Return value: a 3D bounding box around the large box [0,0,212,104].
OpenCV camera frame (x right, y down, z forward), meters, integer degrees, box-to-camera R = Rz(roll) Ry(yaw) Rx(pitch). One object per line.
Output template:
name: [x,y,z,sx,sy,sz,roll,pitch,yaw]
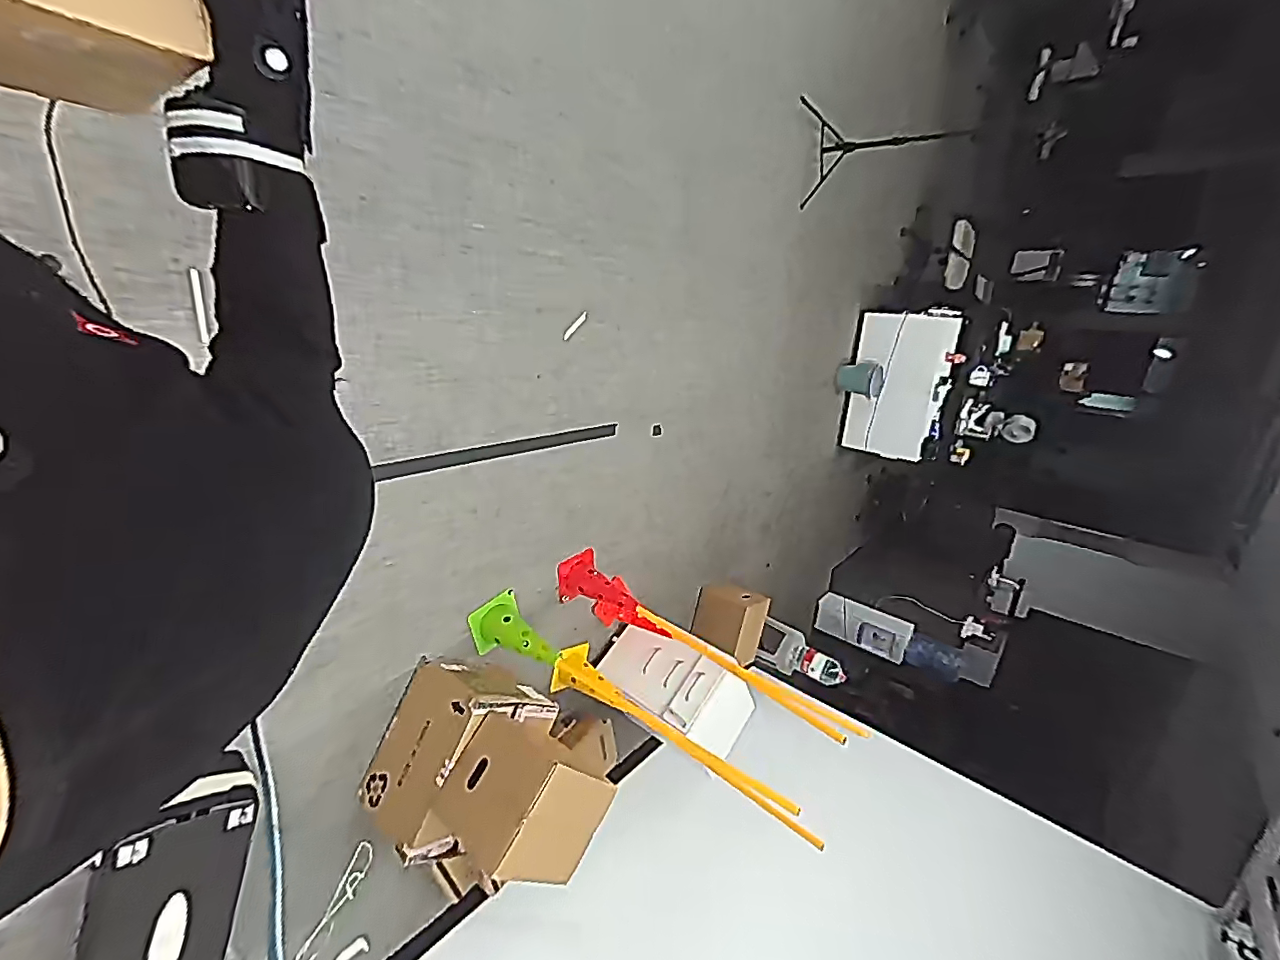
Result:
large box: [-0.523,-0.445,0.269,0.408,0.320,0.320,-15,119,-48]
